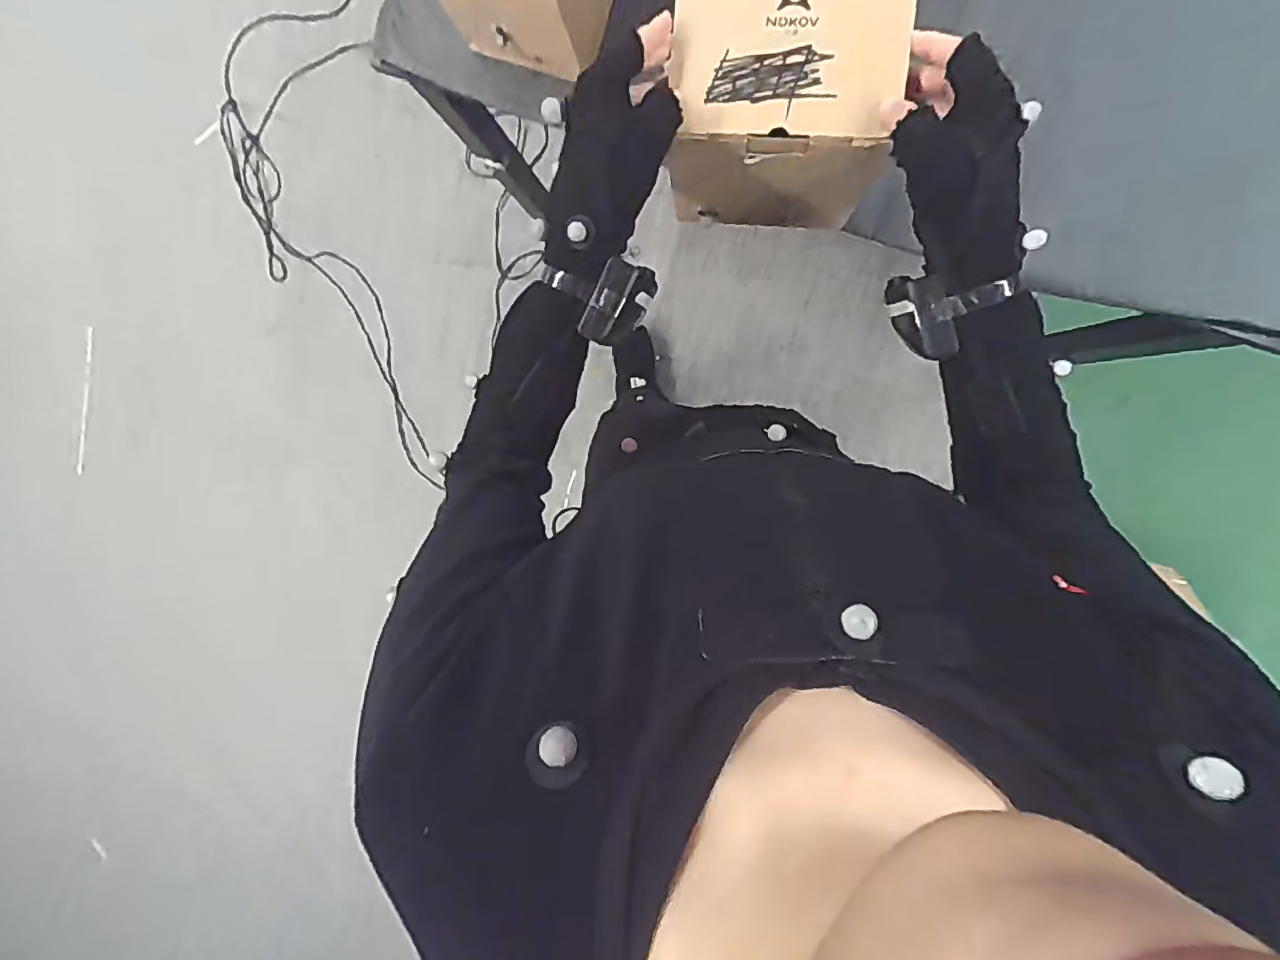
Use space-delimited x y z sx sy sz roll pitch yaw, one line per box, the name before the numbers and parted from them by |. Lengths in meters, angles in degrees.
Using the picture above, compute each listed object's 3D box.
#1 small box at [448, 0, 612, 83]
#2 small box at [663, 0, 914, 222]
small box | -0.124 -0.596 0.594 0.168 0.176 0.179 20 100 3
small box | 0.116 -0.338 0.455 0.168 0.176 0.179 6 95 6
